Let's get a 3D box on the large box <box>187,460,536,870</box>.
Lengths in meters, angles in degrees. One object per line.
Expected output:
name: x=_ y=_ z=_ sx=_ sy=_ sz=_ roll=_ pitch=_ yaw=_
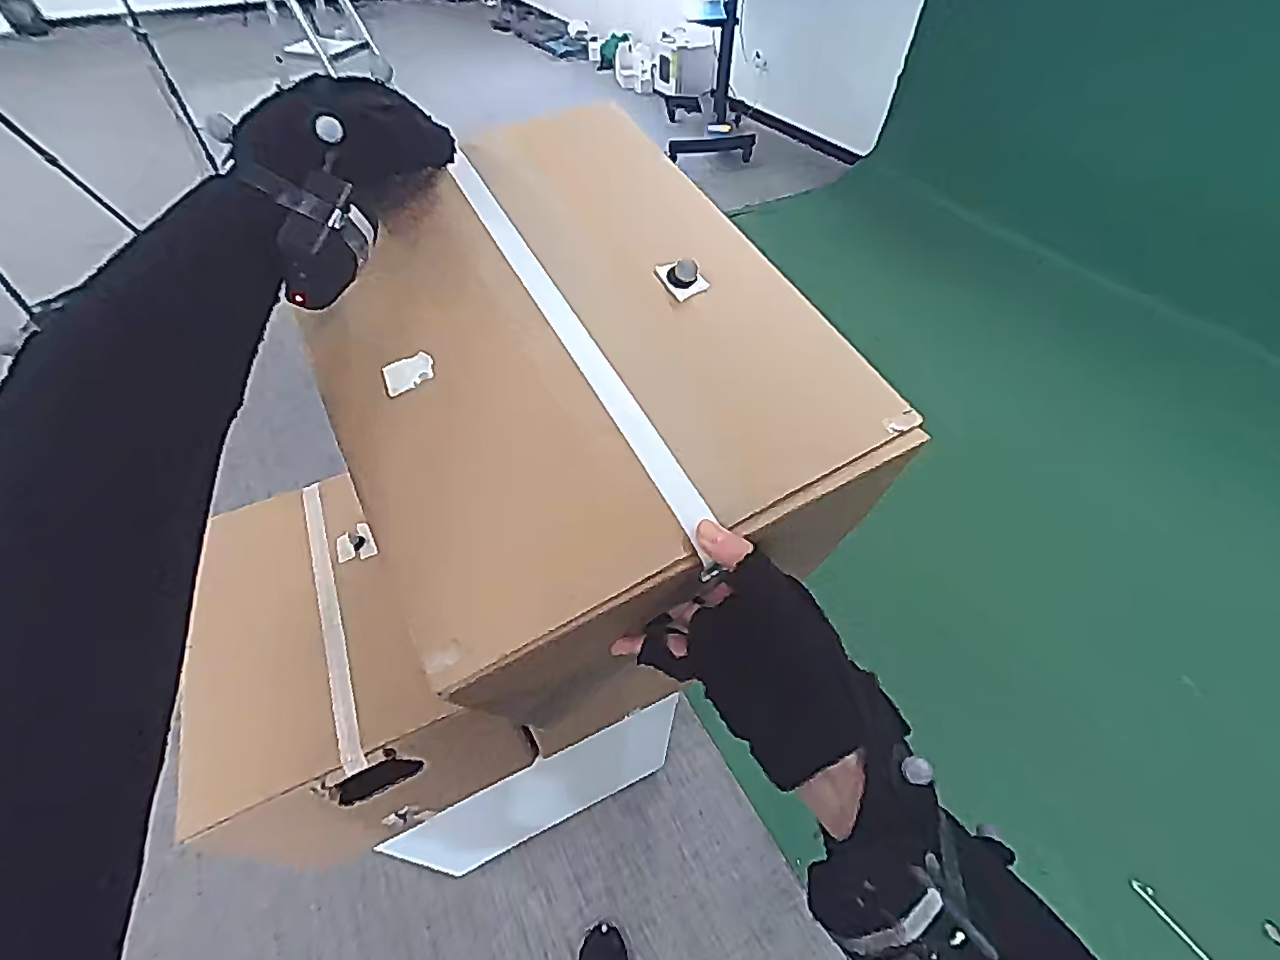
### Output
large box: x=-0.380 y=0.250 z=0.779 sx=0.320 sy=0.320 sz=0.408 roll=-21 pitch=52 yaw=-18
